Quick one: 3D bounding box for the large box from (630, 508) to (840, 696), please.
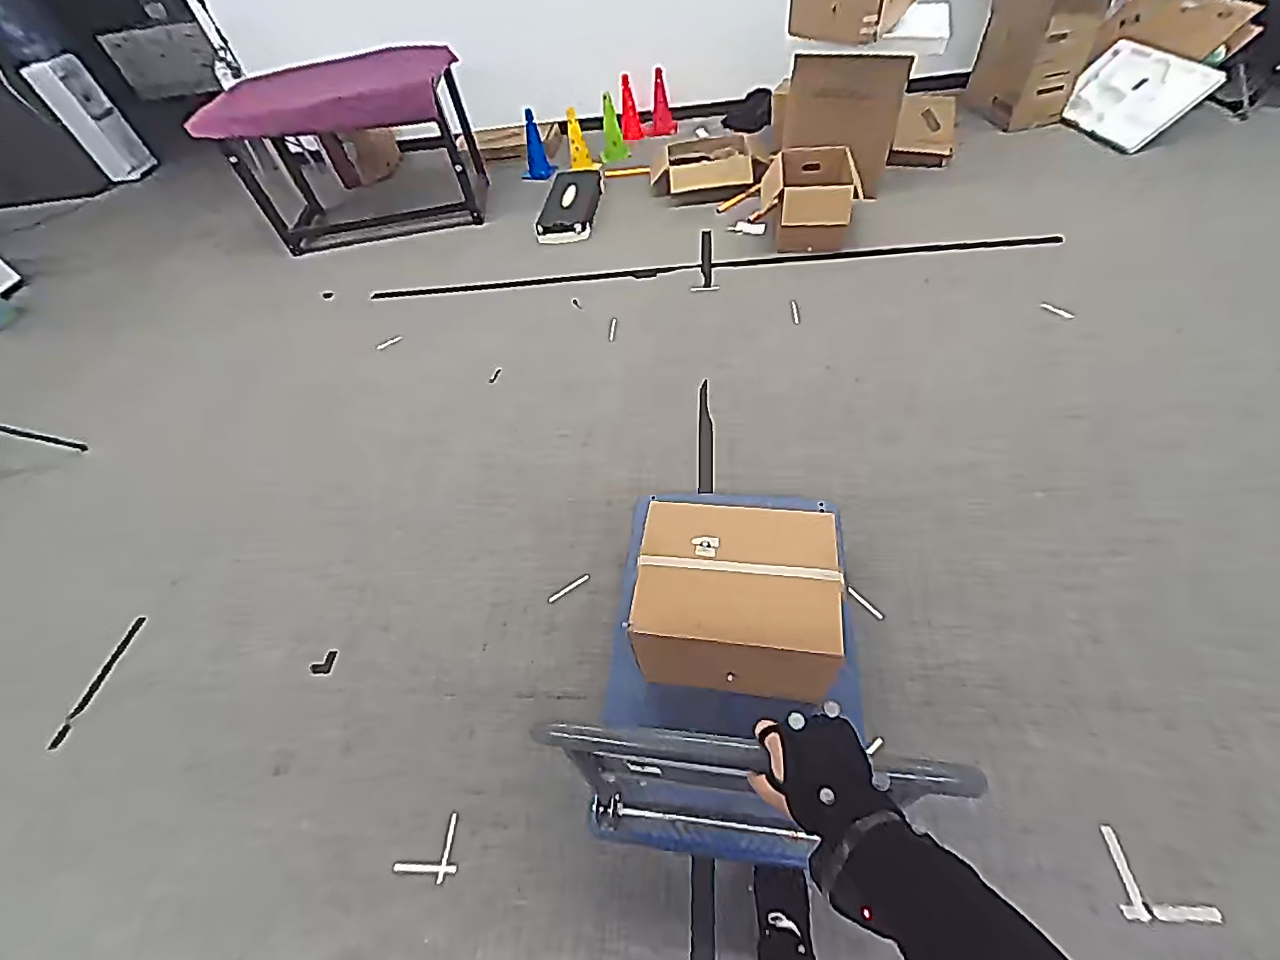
[{"bbox_3d":[0.216,0.280,1.237,0.408,0.320,0.320,3,52,11],"label":"large box"}]
